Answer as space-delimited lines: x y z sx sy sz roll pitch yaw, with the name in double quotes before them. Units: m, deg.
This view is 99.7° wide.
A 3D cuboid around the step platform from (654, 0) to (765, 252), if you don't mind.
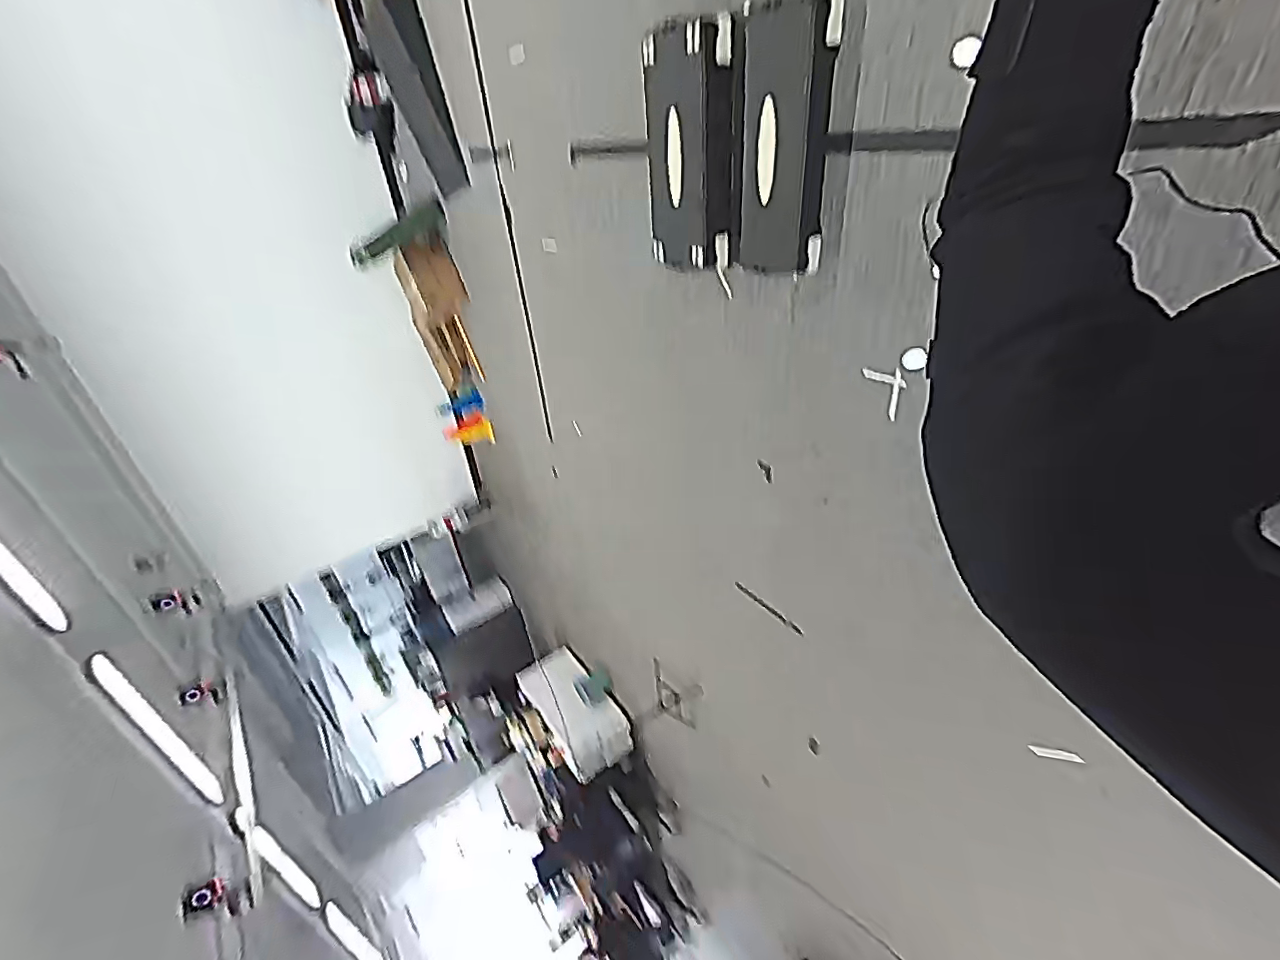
"step platform" 0.212 -1.090 1.707 0.286 0.204 0.684 33 137 45
